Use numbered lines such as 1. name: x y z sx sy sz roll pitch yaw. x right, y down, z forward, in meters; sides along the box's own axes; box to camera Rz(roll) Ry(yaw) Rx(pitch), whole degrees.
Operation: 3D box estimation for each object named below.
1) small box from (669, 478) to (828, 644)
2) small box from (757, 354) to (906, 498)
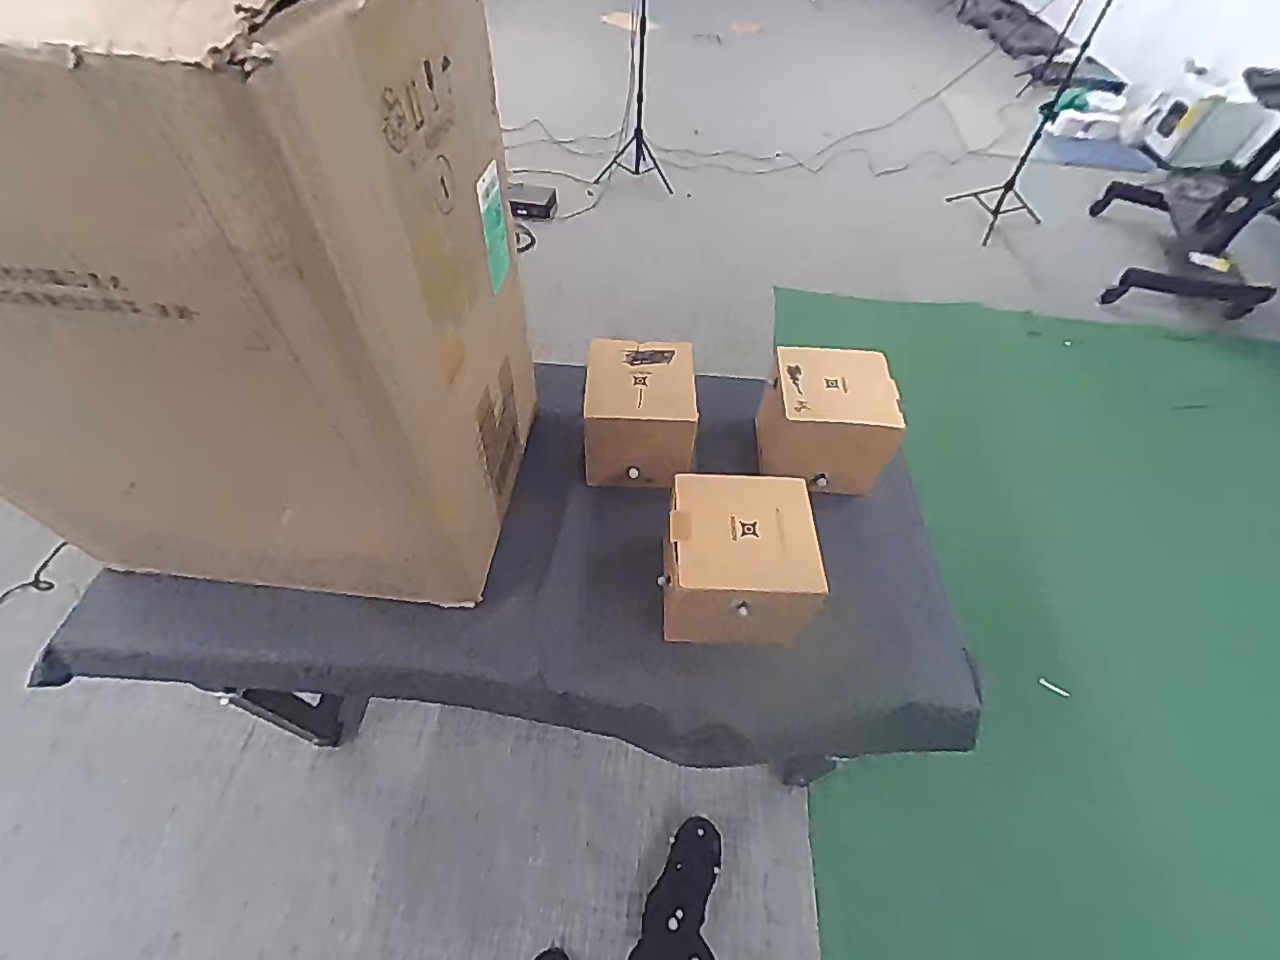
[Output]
1. small box: 0.131 0.115 0.735 0.179 0.176 0.168 3 53 -2
2. small box: 0.303 -0.085 0.896 0.179 0.176 0.168 5 51 0
